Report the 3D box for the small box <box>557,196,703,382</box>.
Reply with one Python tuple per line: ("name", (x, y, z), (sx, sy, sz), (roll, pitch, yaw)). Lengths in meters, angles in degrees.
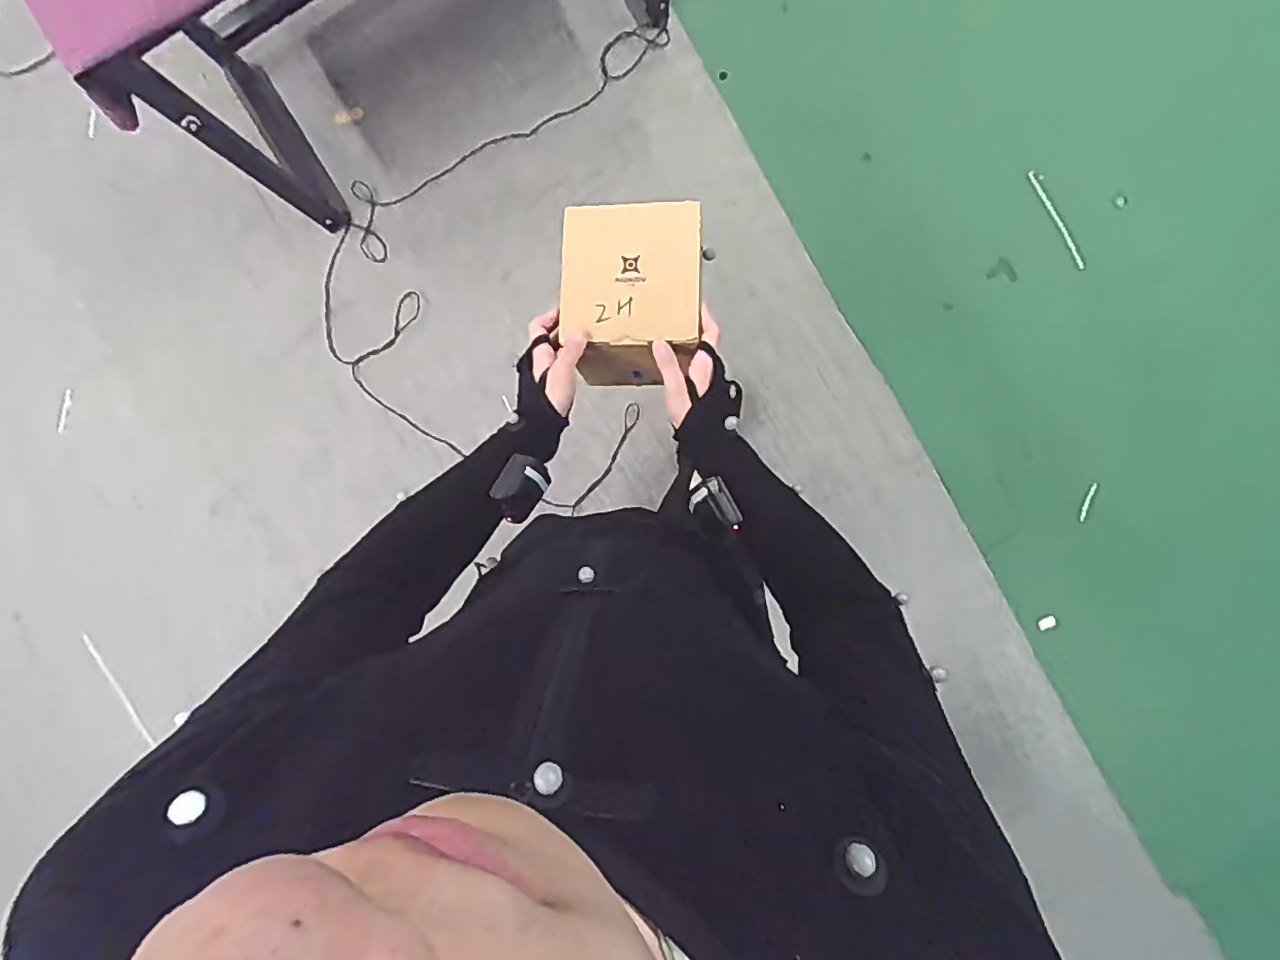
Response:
("small box", (-0.003, -0.239, 0.710), (0.168, 0.176, 0.179), (1, 83, 8))
